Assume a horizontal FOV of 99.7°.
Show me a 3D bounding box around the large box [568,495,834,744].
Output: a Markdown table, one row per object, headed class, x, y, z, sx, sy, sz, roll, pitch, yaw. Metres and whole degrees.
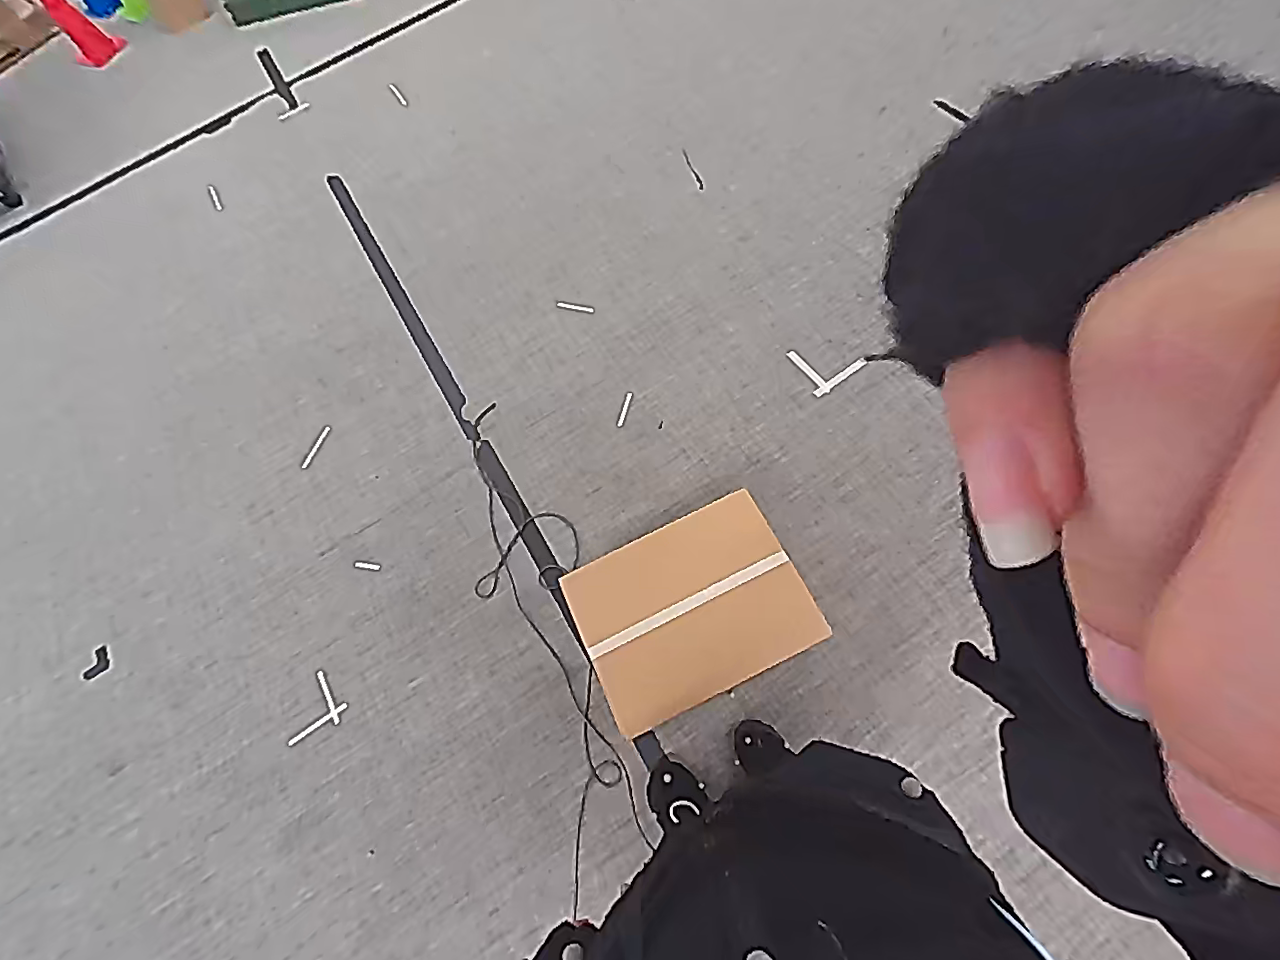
| class | x | y | z | sx | sy | sz | roll | pitch | yaw |
| --- | --- | --- | --- | --- | --- | --- | --- | --- | --- |
| large box | 0.118 | 0.295 | 1.120 | 0.408 | 0.320 | 0.320 | -26 | 68 | -3 |
